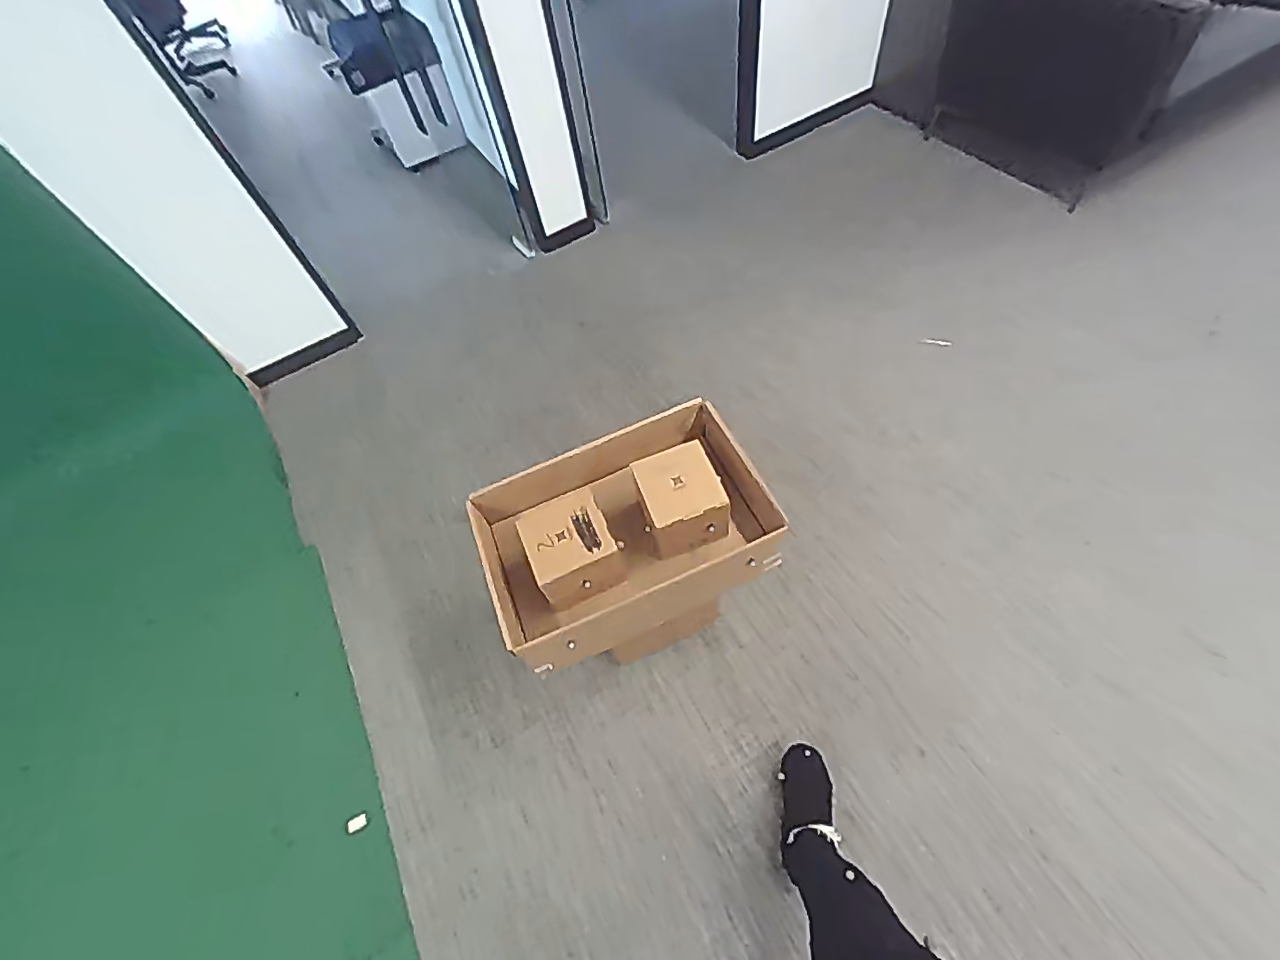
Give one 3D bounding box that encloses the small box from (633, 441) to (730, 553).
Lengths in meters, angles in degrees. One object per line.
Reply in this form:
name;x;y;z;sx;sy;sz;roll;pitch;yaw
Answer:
small box;0.097;0.048;1.223;0.168;0.176;0.179;-20;58;-4
